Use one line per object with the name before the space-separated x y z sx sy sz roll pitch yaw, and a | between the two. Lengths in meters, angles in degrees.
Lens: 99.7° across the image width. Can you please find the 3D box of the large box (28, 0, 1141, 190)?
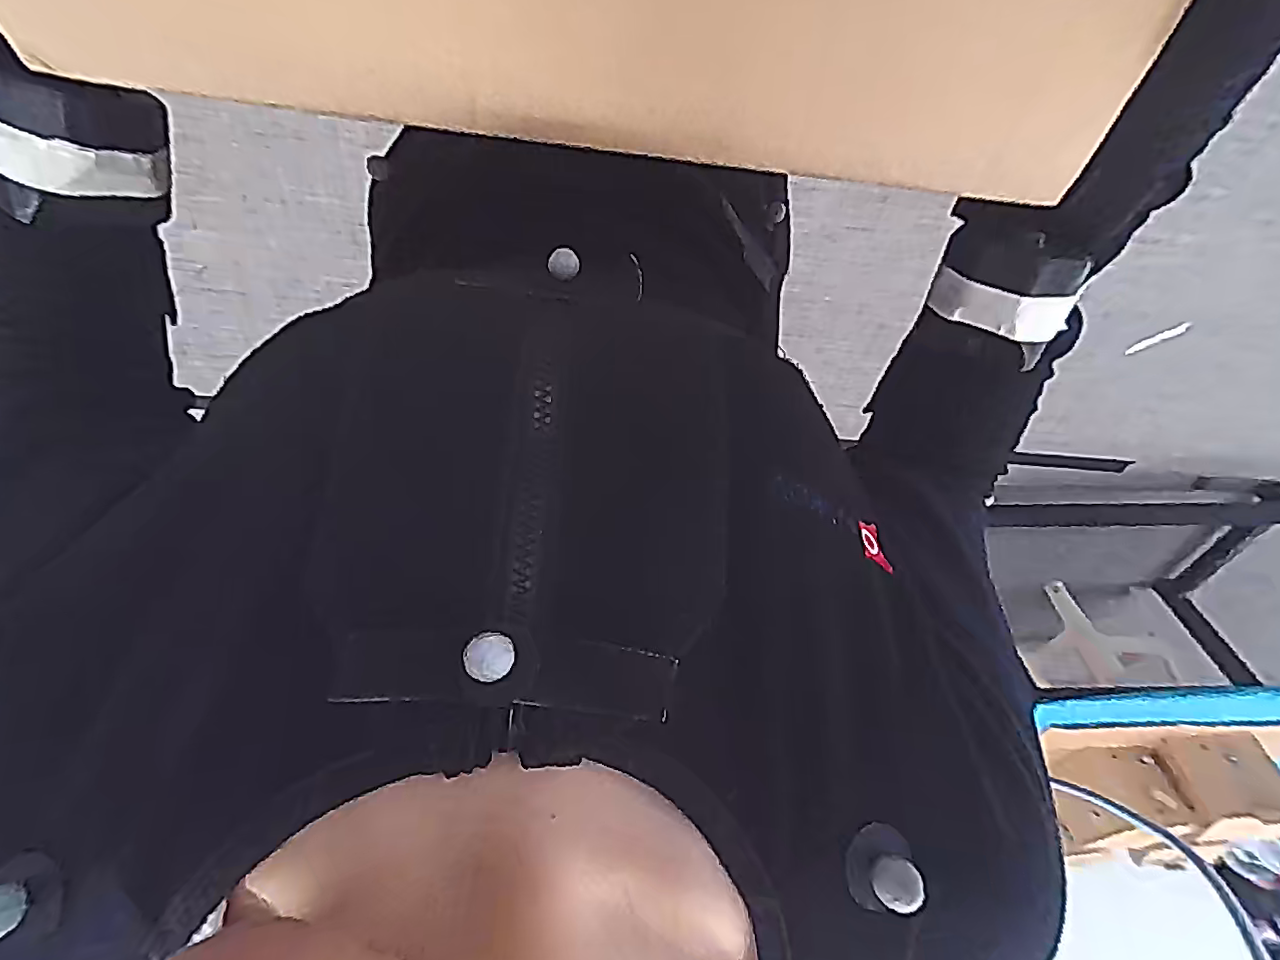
large box | -0.007 -0.353 0.210 0.408 0.320 0.320 5 137 -4
